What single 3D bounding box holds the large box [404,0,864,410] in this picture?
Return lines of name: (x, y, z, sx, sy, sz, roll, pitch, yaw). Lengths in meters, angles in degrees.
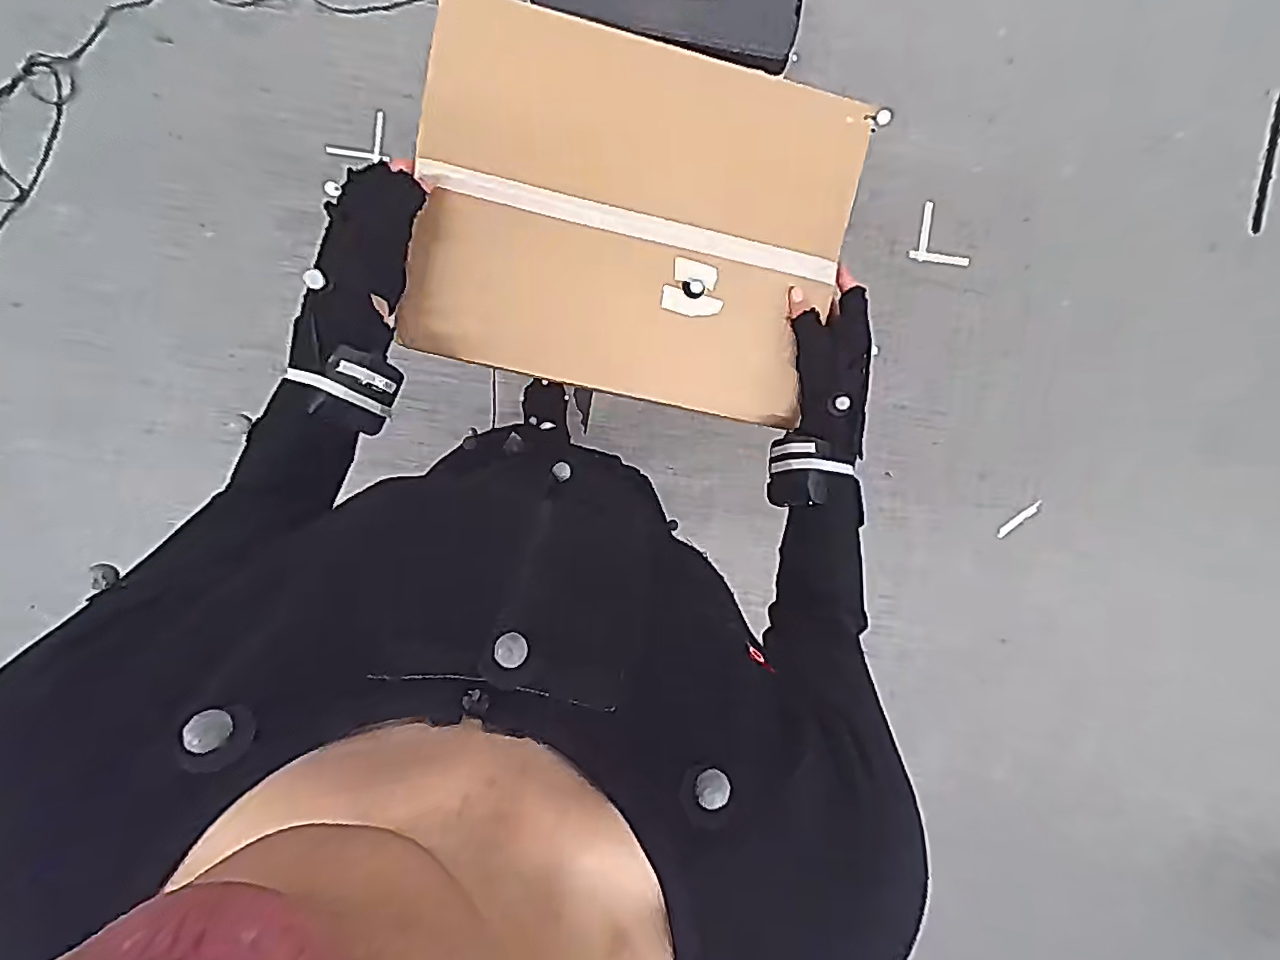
large box: (-0.021, -0.276, 0.660, 0.408, 0.320, 0.320, 10, 99, -7)
